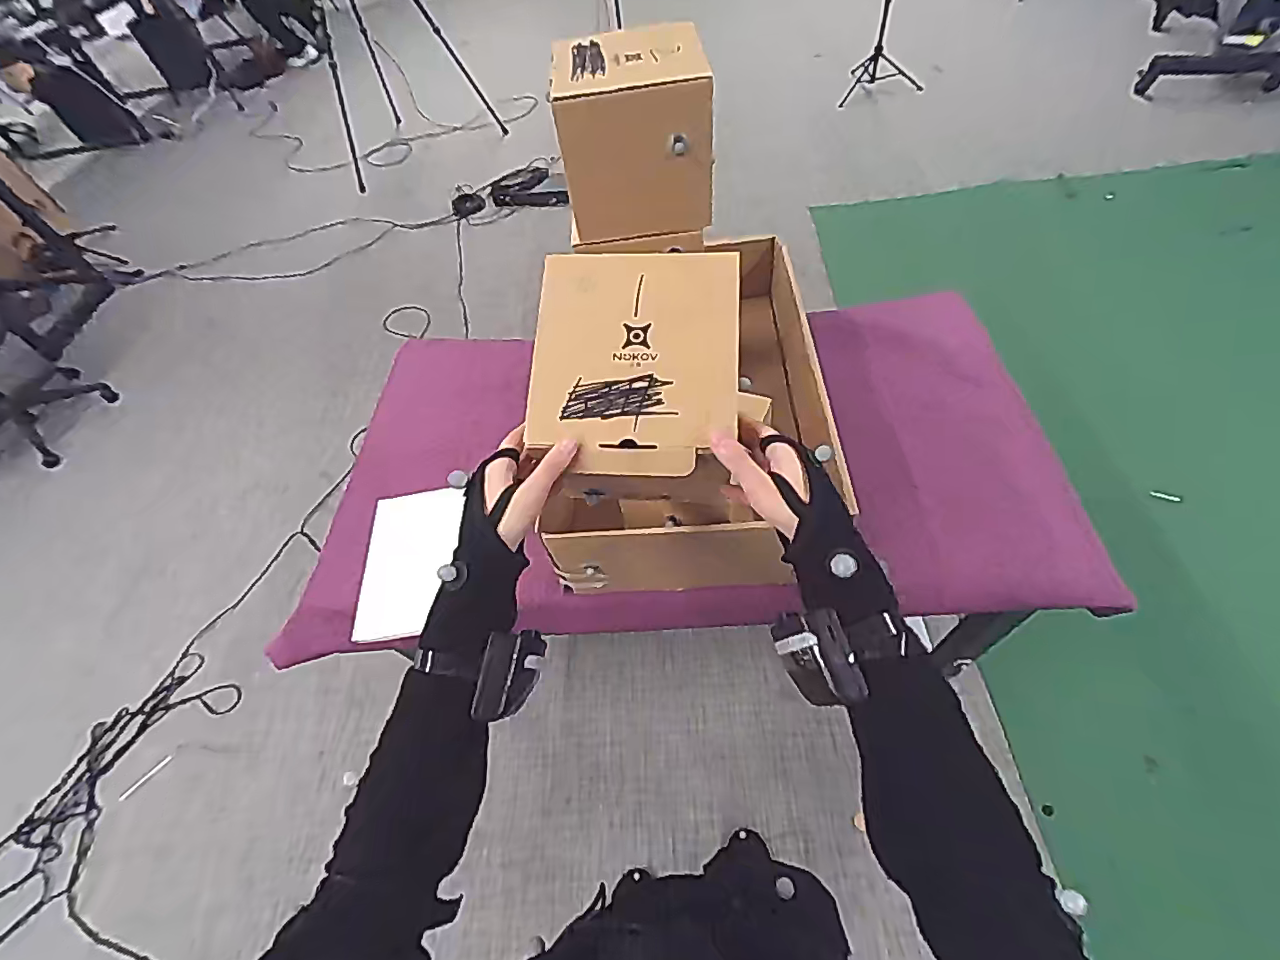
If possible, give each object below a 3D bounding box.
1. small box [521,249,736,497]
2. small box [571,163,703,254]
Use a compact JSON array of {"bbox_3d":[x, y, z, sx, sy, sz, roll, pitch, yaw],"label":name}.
[{"bbox_3d":[0.002,-0.085,0.504,0.168,0.176,0.179,2,74,6],"label":"small box"},{"bbox_3d":[0.004,-0.338,0.811,0.179,0.176,0.168,-6,56,5],"label":"small box"}]
